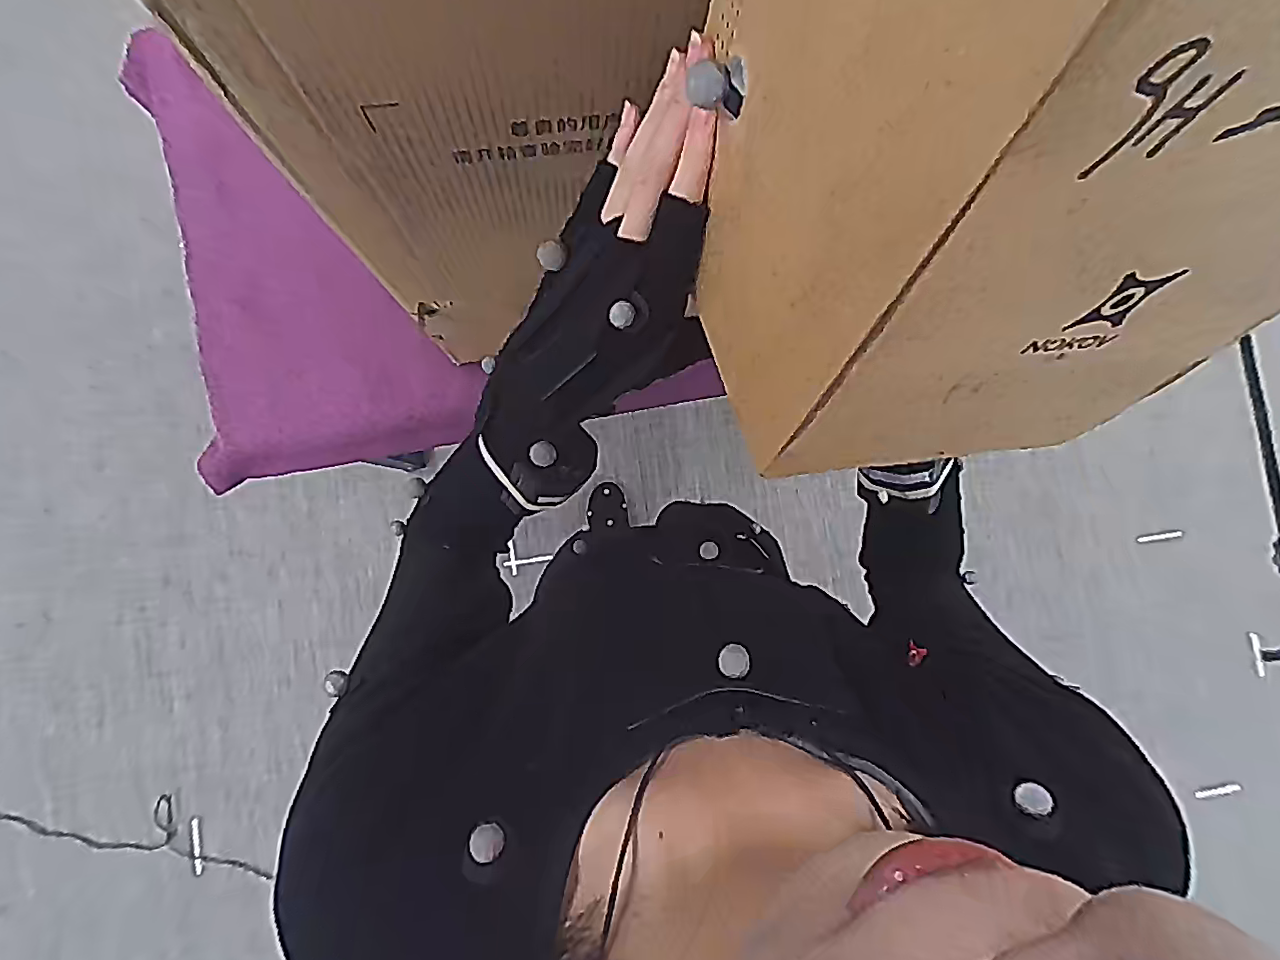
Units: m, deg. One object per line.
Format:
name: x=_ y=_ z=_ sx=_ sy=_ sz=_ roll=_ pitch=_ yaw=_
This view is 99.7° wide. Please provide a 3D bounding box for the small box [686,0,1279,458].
small box: x=0.125 y=-0.128 z=0.195 sx=0.168 sy=0.179 sz=0.176 roll=-7 pitch=65 yaw=-14
